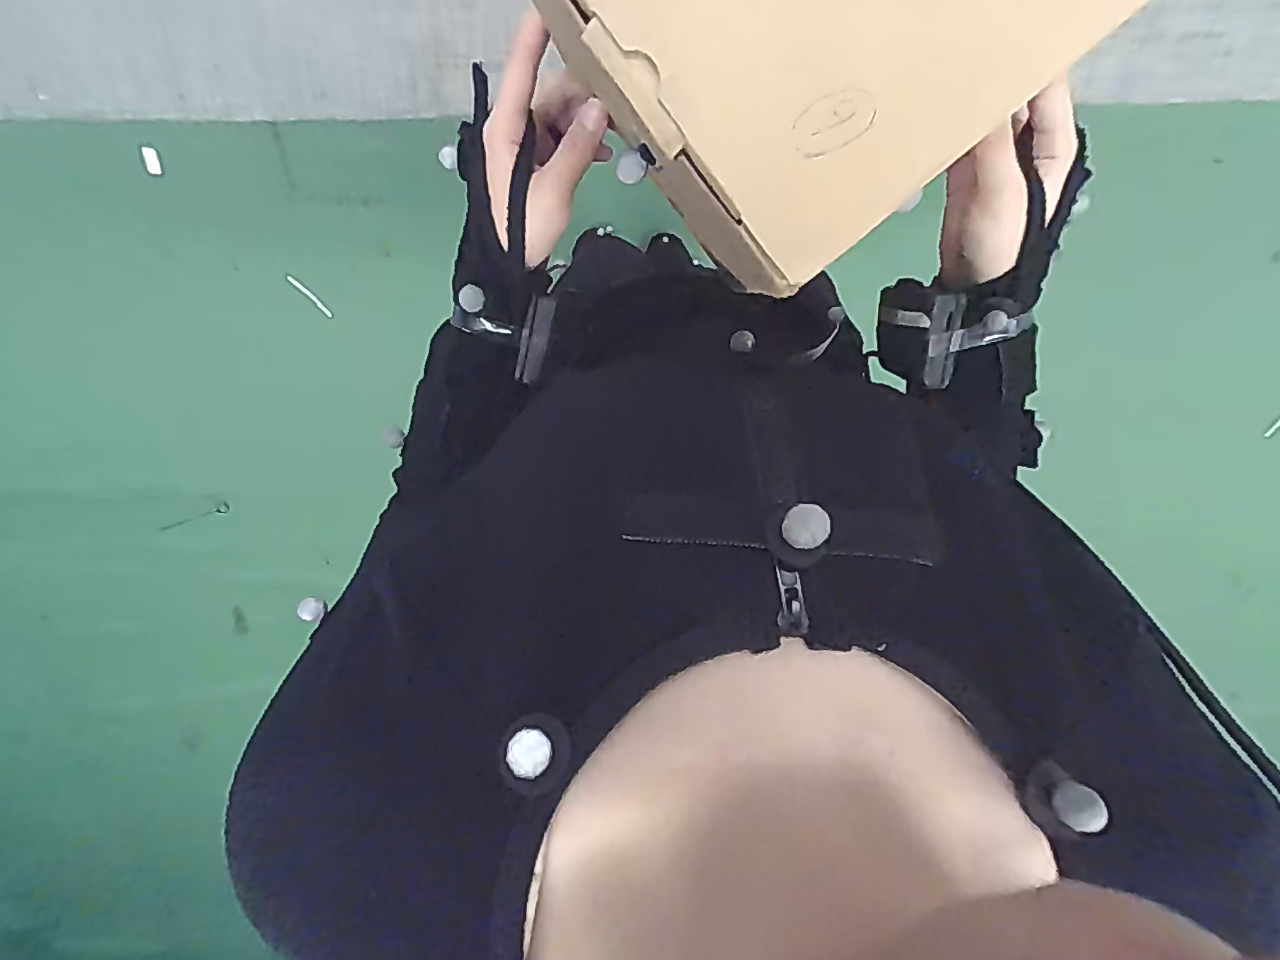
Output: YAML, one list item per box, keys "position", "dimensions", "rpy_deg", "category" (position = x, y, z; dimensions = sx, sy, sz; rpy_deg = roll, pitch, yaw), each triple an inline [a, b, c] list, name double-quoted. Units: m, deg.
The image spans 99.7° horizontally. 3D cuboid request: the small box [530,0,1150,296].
- position: [0.067, -0.198, 0.225]
  dimensions: [0.179, 0.176, 0.168]
  rpy_deg: [-38, 102, 16]
  category: "small box"
